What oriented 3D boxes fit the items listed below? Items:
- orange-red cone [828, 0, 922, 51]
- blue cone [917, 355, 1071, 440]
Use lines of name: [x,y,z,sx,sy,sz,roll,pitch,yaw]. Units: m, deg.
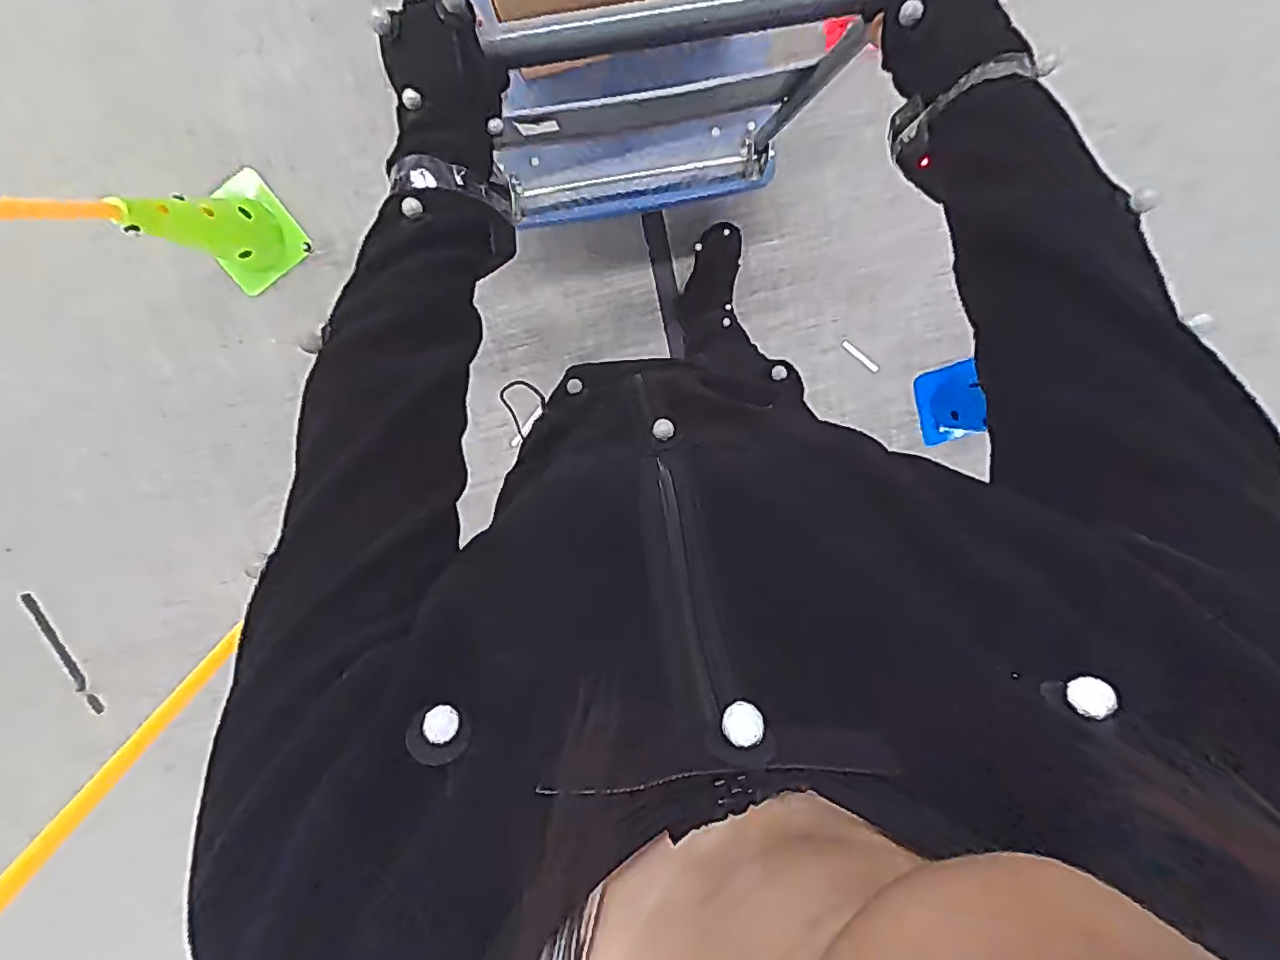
orange-red cone: [0.499,-0.956,0.955,0.199,0.360,0.198,-8,109,-2]
blue cone: [0.834,-0.162,1.251,0.193,0.380,0.192,-18,107,2]
